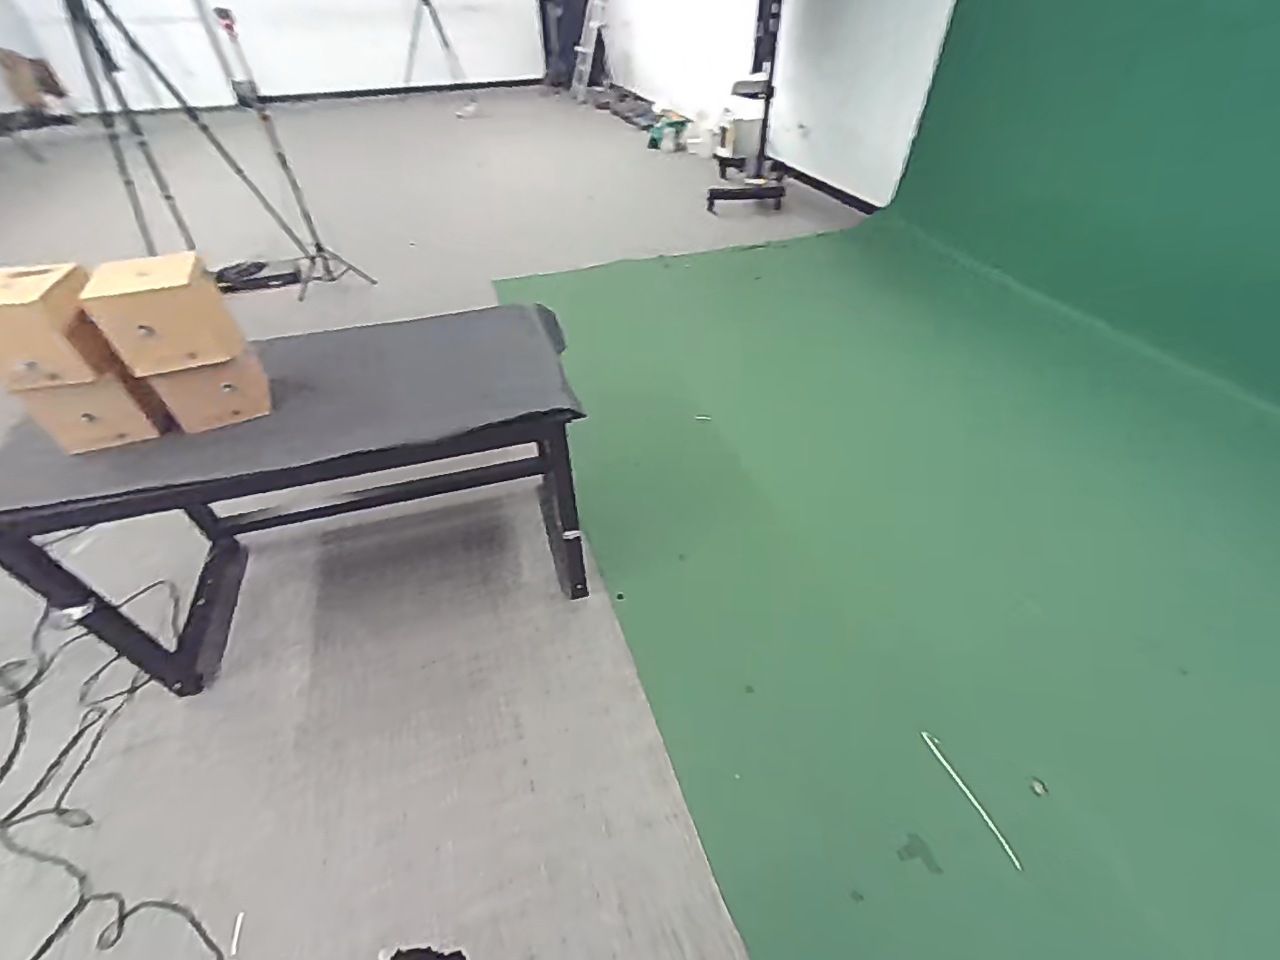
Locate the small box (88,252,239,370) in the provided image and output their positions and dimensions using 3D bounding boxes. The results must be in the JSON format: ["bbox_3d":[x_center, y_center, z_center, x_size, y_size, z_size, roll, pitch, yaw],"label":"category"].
[{"bbox_3d":[-0.945,-0.336,1.094,0.168,0.176,0.179,-17,46,-19],"label":"small box"}]

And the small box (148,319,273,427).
[{"bbox_3d":[-0.959,-0.237,1.223,0.168,0.176,0.179,-19,47,-21],"label":"small box"}]
